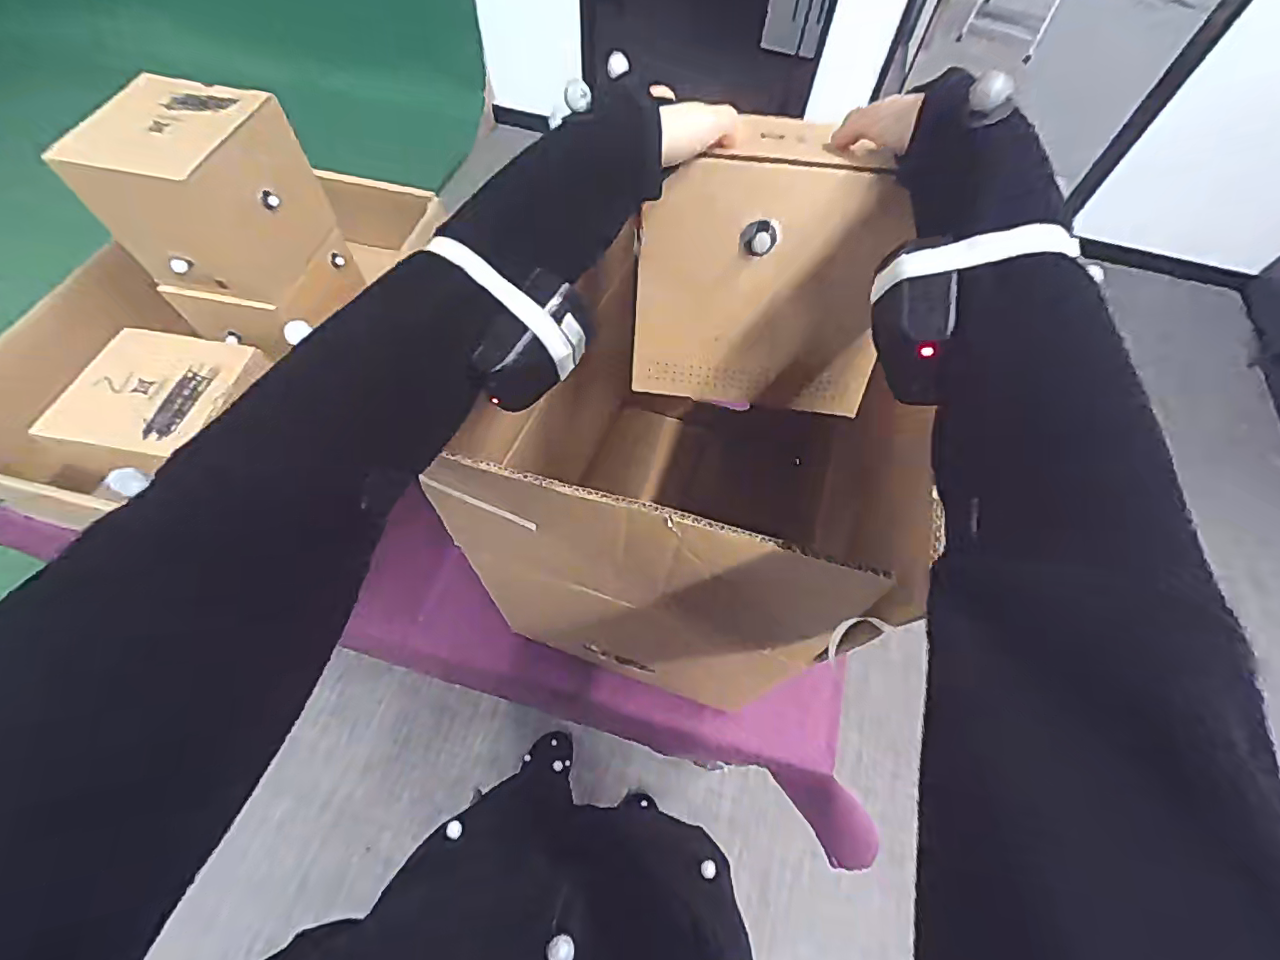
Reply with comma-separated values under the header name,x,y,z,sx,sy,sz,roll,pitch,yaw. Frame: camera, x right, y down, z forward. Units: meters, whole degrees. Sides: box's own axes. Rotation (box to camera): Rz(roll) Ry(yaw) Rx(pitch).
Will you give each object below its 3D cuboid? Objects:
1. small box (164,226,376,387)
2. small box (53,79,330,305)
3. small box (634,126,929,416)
name,x,y,z,sx,sy,sz,roll,pitch,yaw
small box,-0.531,-0.263,0.810,0.168,0.176,0.179,10,61,4
small box,-0.523,-0.350,0.670,0.168,0.176,0.179,11,62,5
small box,0.093,-0.168,0.432,0.179,0.176,0.168,8,41,5
